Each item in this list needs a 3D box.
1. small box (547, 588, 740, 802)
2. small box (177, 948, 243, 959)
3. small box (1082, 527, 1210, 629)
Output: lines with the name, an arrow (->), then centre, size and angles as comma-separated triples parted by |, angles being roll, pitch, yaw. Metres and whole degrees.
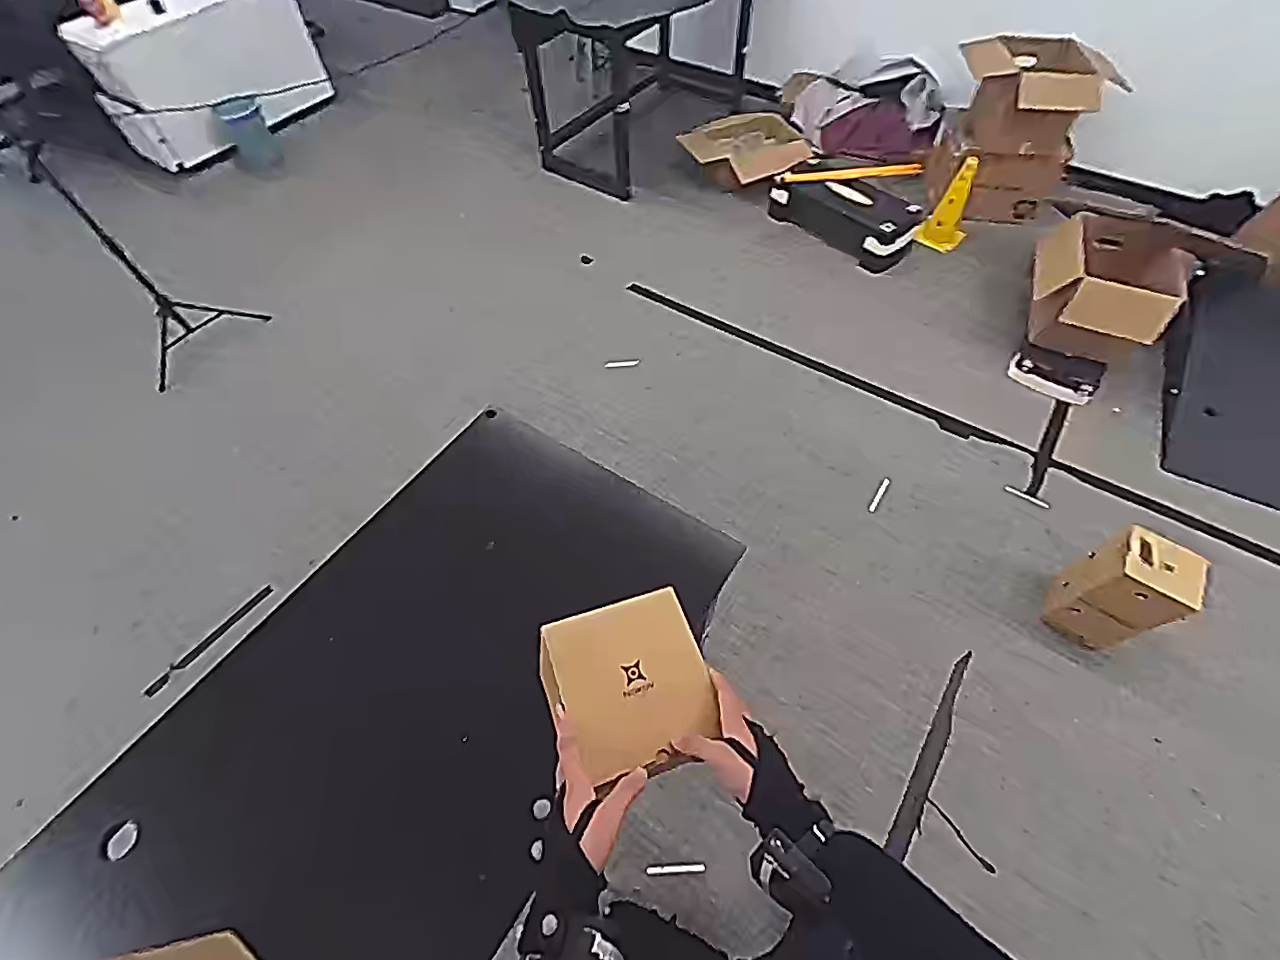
small box -> -0.011, 0.258, 0.647 | 0.168, 0.176, 0.179 | -12, 59, -19
small box -> -0.483, 0.618, 0.538 | 0.179, 0.176, 0.168 | 28, 61, 17
small box -> 1.300, 0.260, 1.400 | 0.179, 0.176, 0.168 | 30, 62, 17
